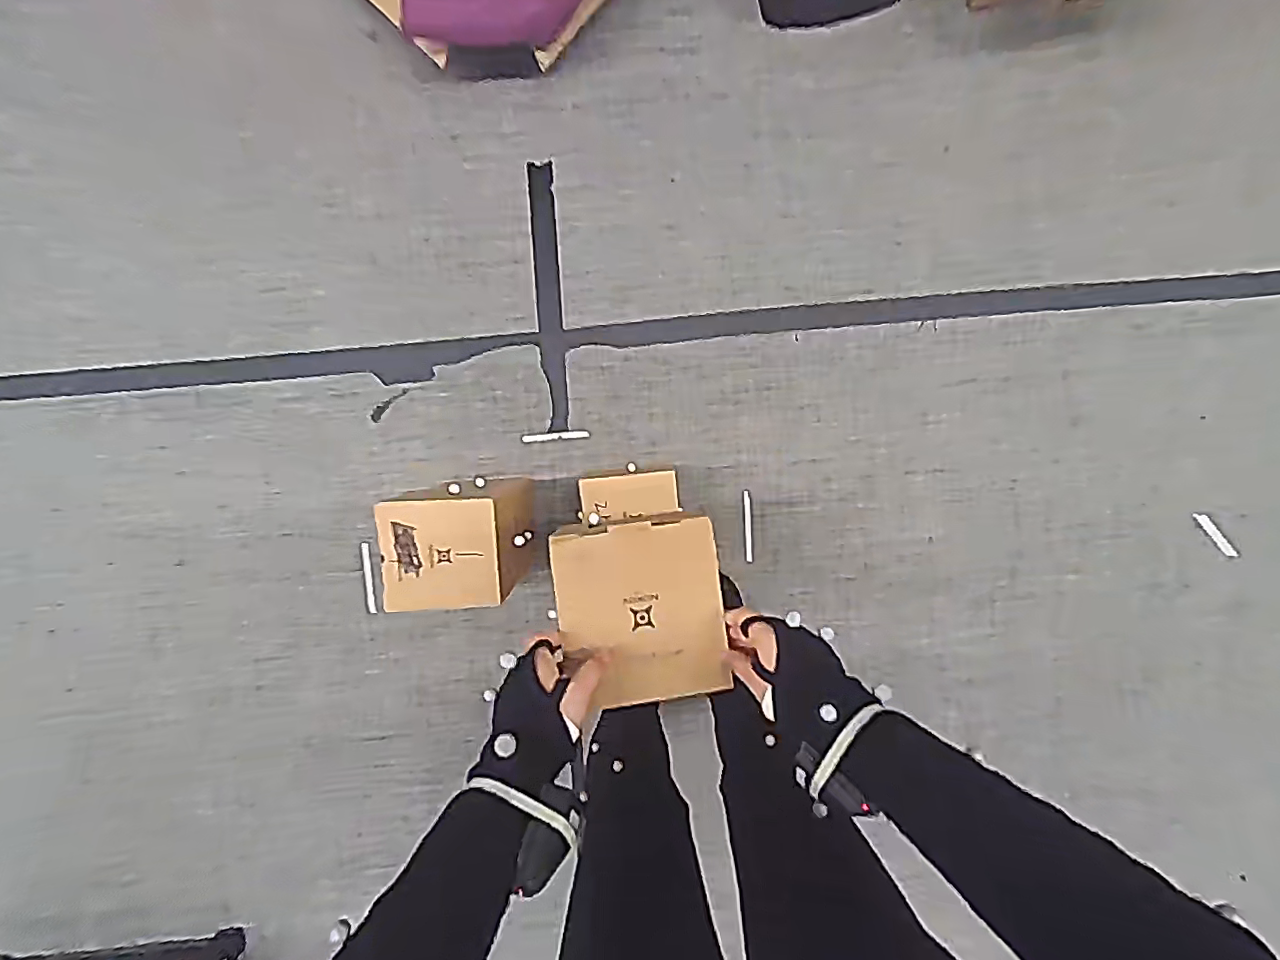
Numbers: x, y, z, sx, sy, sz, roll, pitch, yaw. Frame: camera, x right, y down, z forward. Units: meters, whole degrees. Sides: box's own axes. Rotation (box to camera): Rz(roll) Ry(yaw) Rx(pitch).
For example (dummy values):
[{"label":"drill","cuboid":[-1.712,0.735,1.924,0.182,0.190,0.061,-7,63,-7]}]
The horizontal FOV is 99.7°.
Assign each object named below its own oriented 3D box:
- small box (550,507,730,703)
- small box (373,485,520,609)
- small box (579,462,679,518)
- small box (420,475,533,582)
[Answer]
[{"label":"small box","cuboid":[-0.005,0.126,0.617,0.168,0.176,0.179,-8,91,-3]},{"label":"small box","cuboid":[-0.299,0.099,0.868,0.179,0.176,0.168,-2,96,-2]},{"label":"small box","cuboid":[-0.019,0.059,1.037,0.179,0.176,0.168,-6,96,-1]},{"label":"small box","cuboid":[-0.304,0.089,1.033,0.168,0.176,0.179,-2,97,-1]}]
